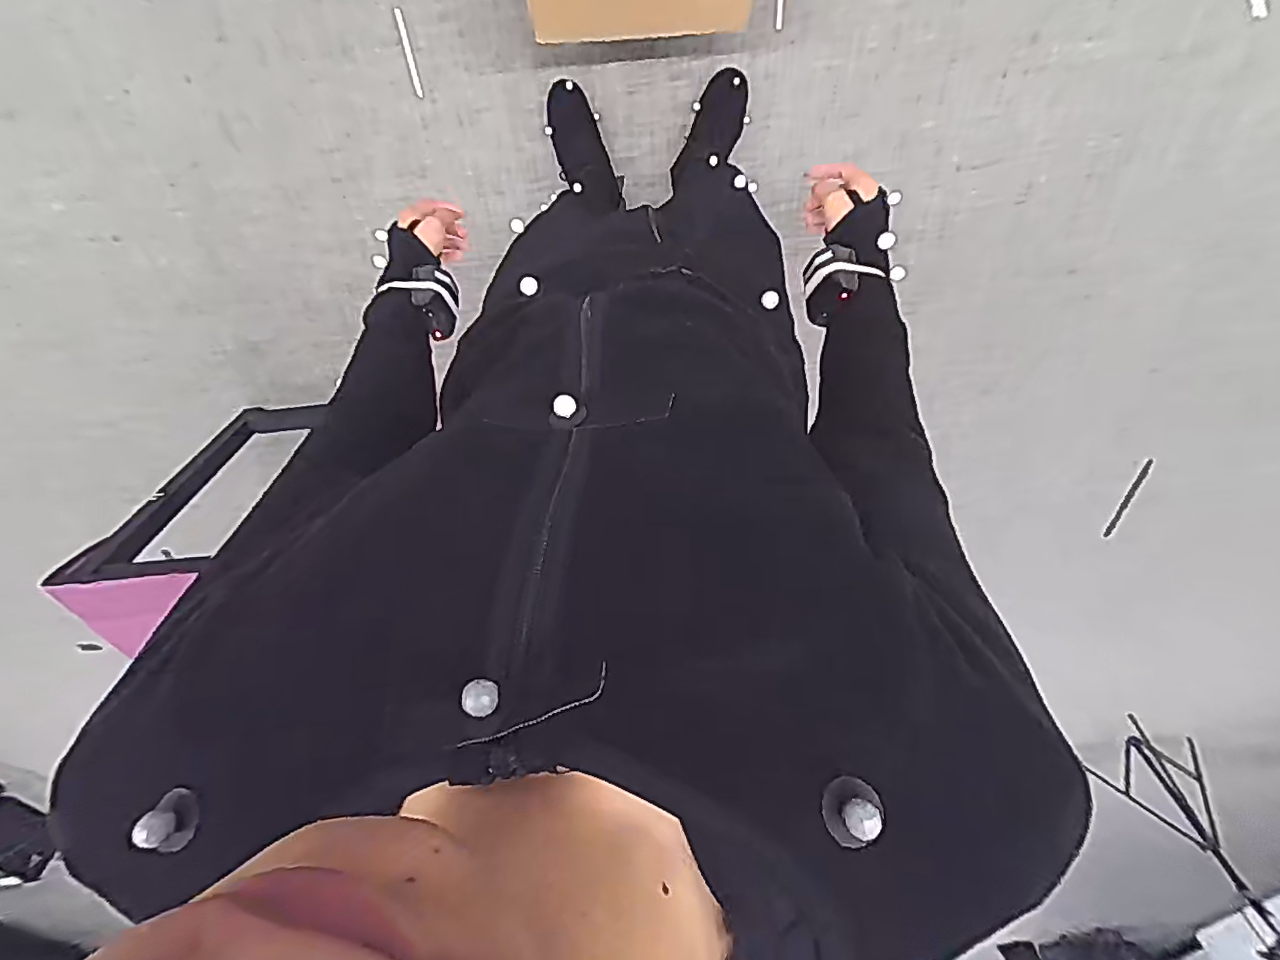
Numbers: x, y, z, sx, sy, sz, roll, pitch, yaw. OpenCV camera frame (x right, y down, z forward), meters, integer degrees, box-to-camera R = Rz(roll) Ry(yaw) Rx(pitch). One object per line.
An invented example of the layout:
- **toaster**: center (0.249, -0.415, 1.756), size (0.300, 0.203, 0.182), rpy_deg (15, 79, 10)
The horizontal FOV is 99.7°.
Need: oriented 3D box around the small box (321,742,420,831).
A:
- **small box**: center (-0.766, 0.881, 1.558), size (0.179, 0.176, 0.168), rpy_deg (-9, 129, 4)
